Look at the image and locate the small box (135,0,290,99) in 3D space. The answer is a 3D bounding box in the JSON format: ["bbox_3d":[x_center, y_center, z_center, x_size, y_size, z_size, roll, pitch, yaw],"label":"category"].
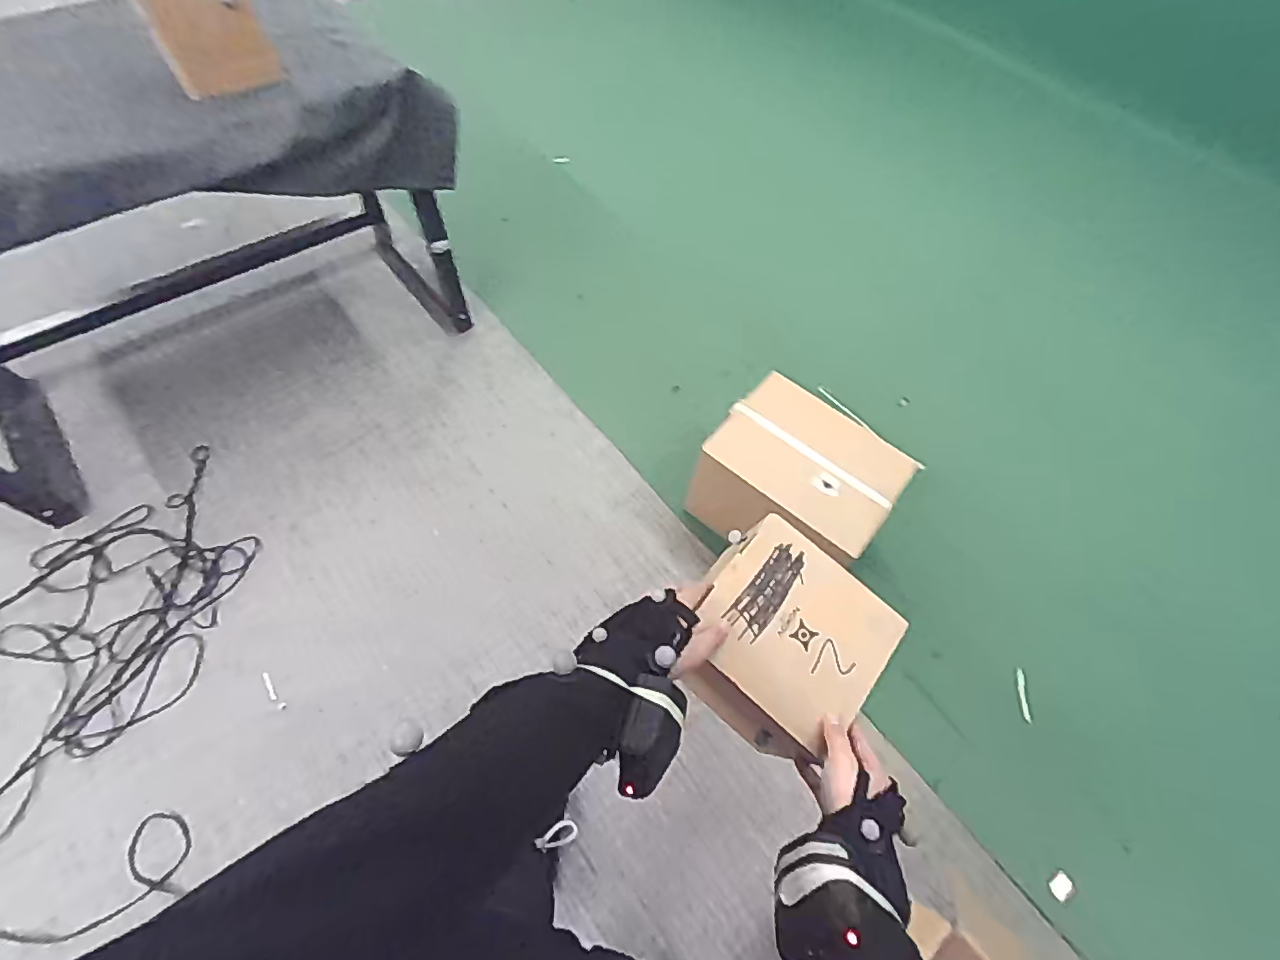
[{"bbox_3d":[-0.801,-0.844,1.002,0.179,0.176,0.168,-32,67,-20],"label":"small box"}]
